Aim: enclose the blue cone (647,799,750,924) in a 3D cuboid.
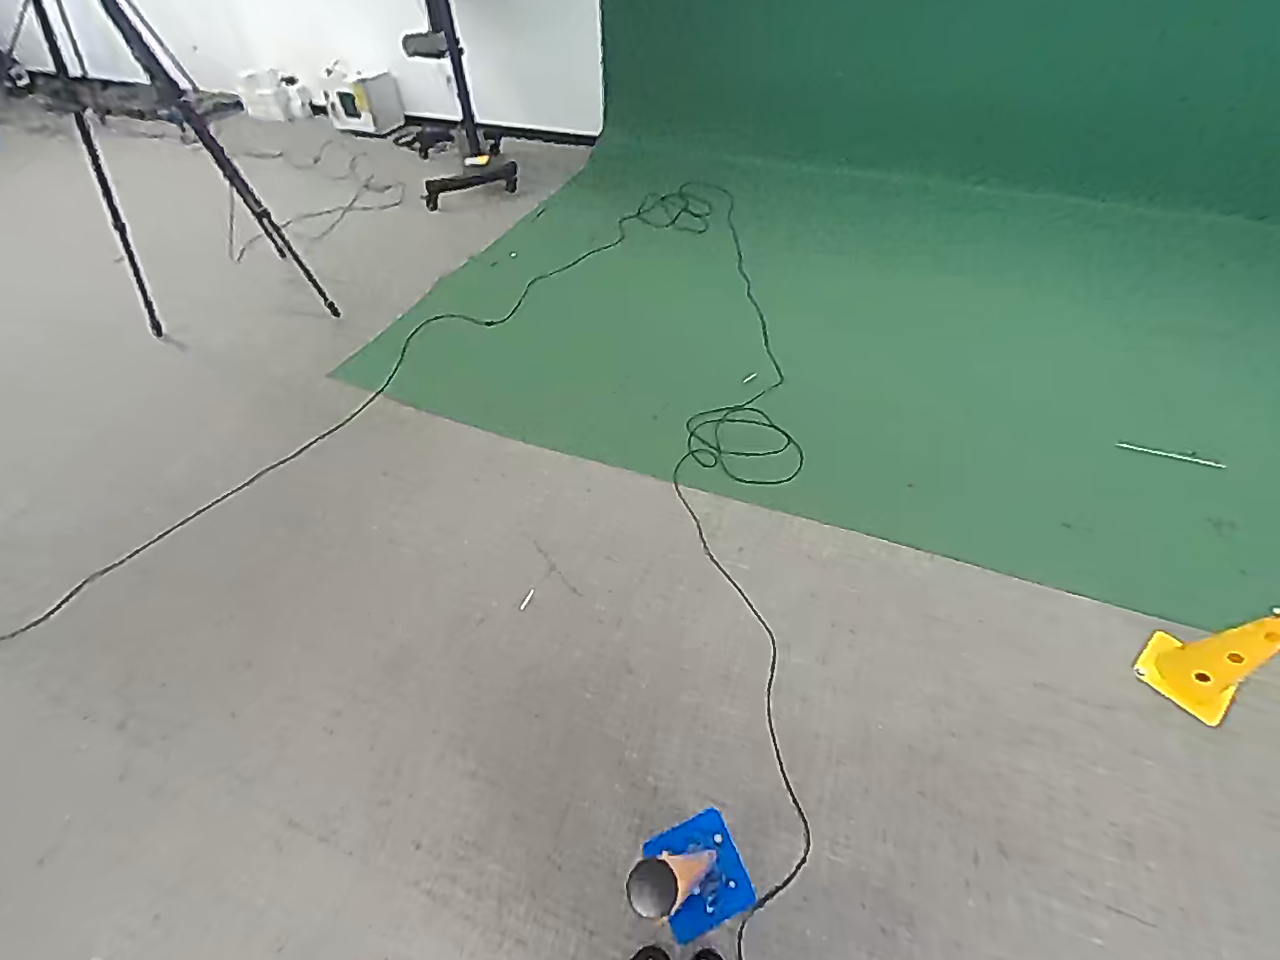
[{"bbox_3d":[0.126,0.748,1.079,0.193,0.380,0.192,-21,54,-14],"label":"blue cone"}]
